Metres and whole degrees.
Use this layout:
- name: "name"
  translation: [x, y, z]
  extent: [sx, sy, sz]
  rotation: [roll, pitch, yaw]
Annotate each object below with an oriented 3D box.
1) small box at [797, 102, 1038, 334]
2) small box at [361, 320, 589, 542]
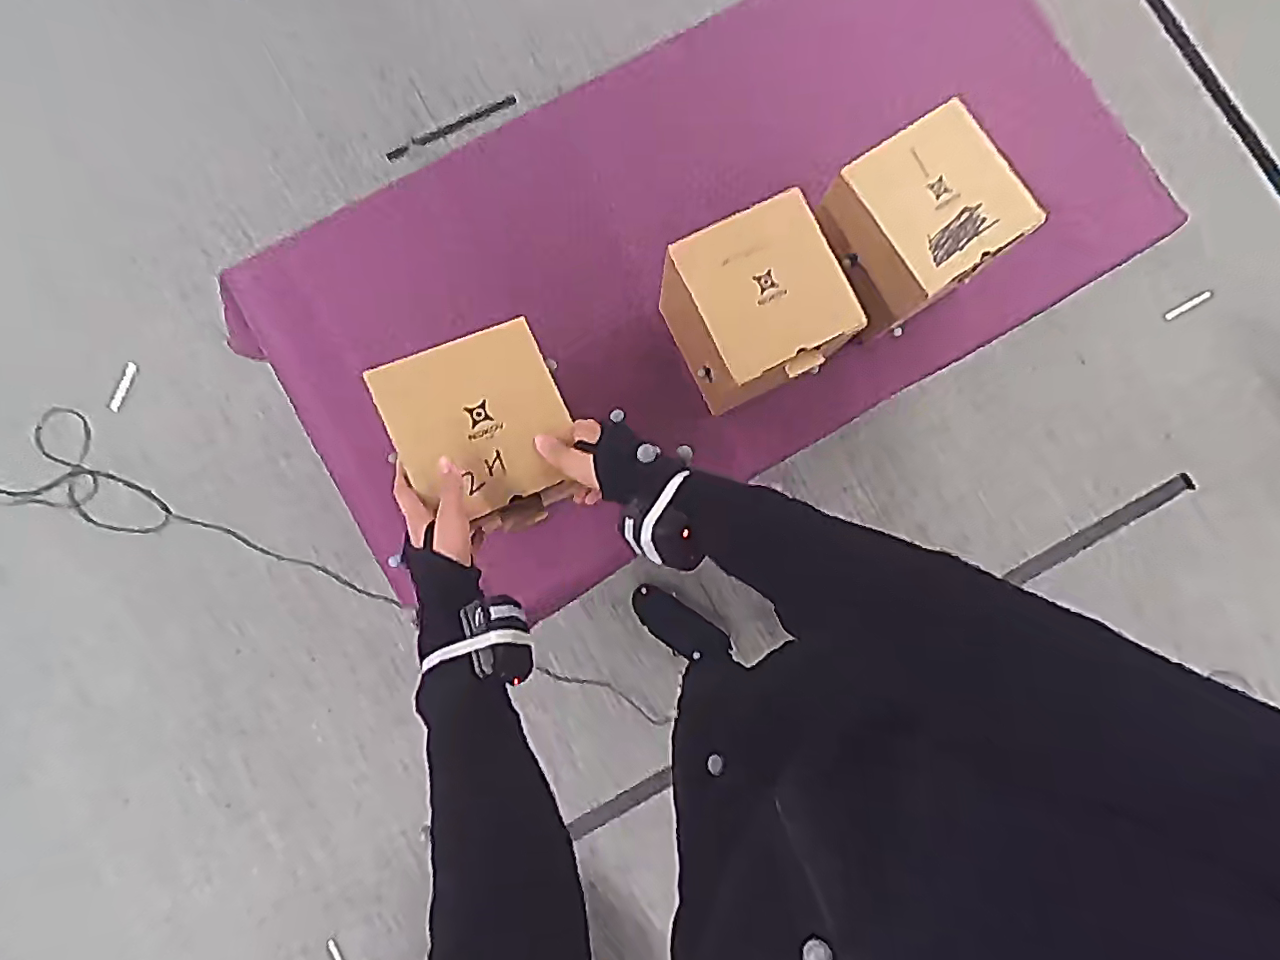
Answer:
- name: "small box"
  translation: [0.329, -0.307, 0.681]
  extent: [0.168, 0.176, 0.179]
  rotation: [-33, 85, -3]
- name: "small box"
  translation: [-0.173, -0.042, 0.598]
  extent: [0.168, 0.176, 0.179]
  rotation: [-25, 87, -13]
